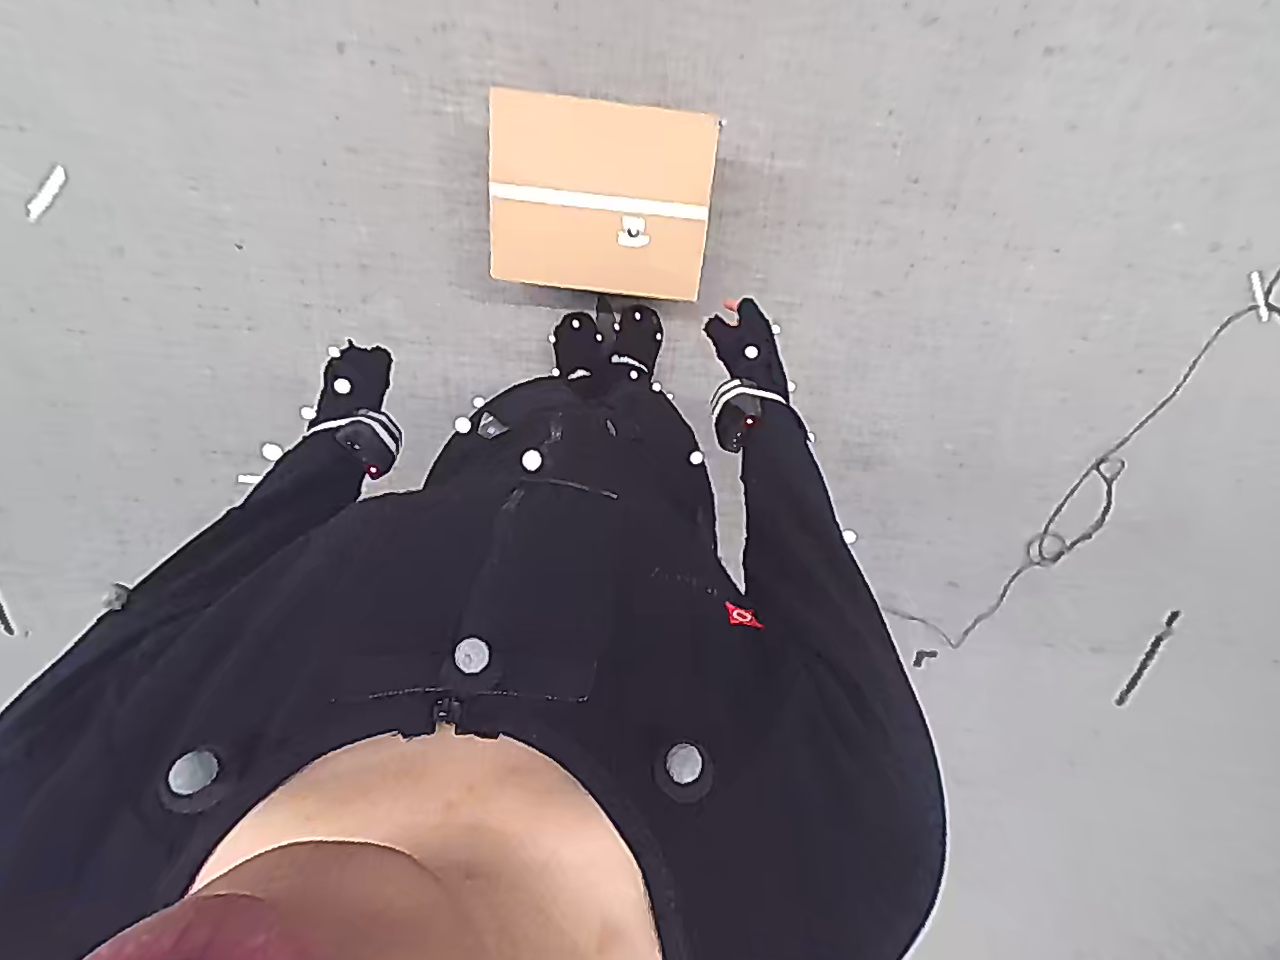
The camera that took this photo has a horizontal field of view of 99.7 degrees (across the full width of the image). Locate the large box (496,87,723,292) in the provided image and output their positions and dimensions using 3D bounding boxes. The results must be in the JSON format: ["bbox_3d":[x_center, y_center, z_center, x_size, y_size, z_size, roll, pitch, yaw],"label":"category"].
[{"bbox_3d":[-0.067,-0.579,1.132,0.408,0.320,0.320,5,114,-3],"label":"large box"}]
